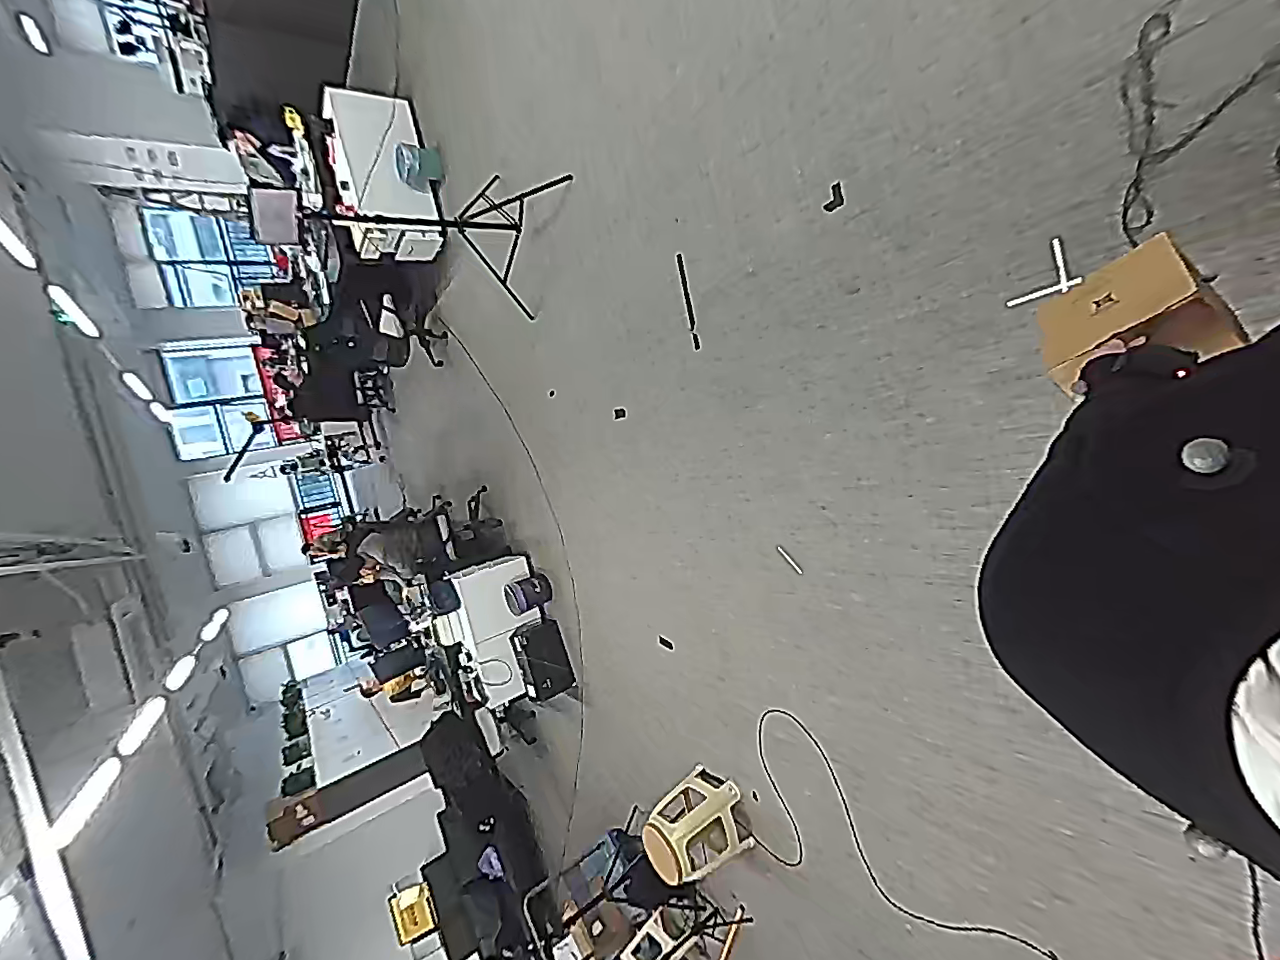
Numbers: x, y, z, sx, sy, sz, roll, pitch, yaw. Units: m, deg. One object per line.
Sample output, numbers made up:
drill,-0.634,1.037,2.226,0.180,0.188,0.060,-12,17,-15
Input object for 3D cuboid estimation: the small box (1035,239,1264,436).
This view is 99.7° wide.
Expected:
small box,0.689,-0.184,0.746,0.176,0.179,0.168,39,140,-11
